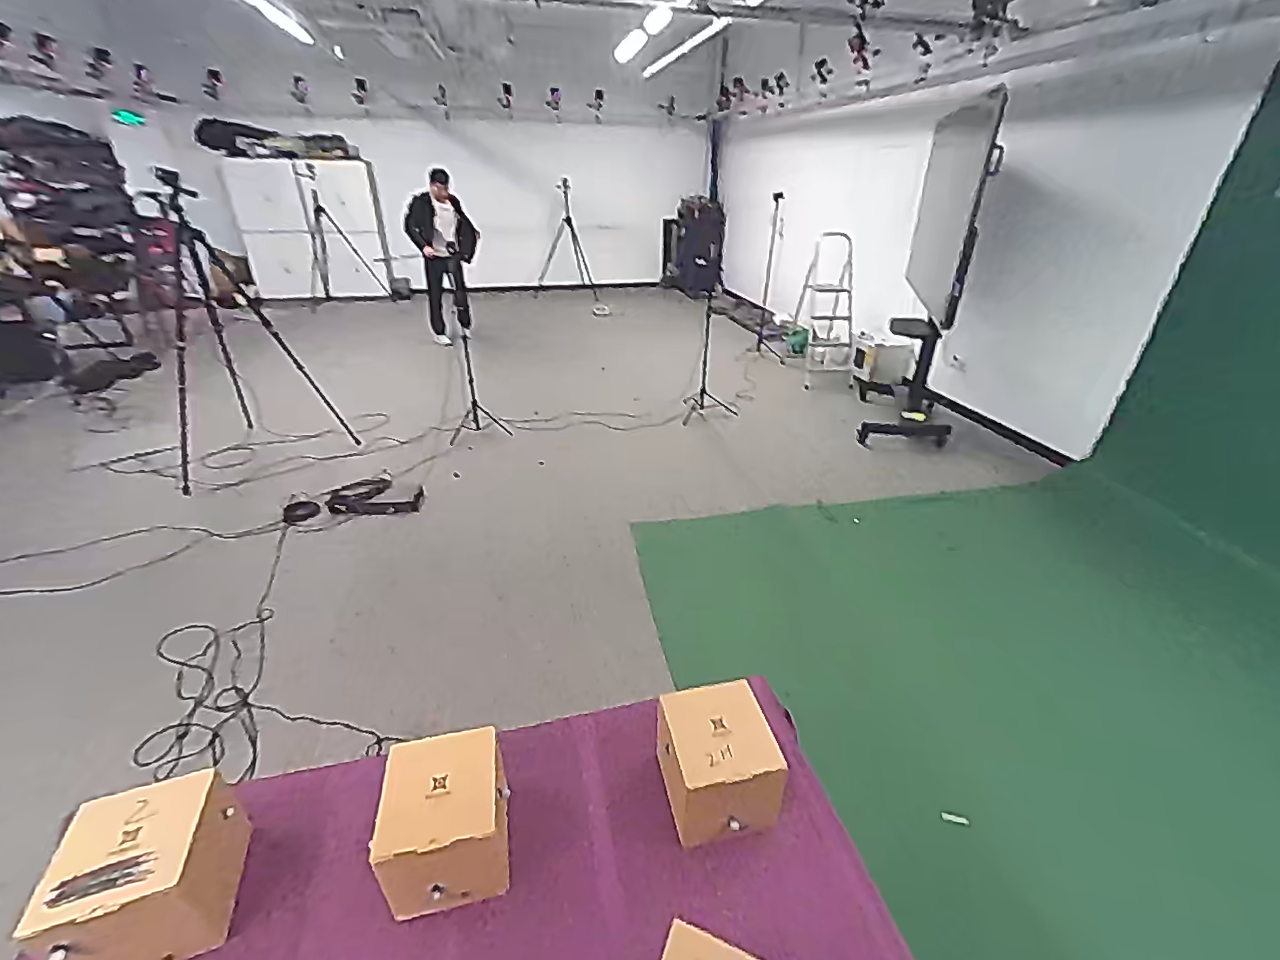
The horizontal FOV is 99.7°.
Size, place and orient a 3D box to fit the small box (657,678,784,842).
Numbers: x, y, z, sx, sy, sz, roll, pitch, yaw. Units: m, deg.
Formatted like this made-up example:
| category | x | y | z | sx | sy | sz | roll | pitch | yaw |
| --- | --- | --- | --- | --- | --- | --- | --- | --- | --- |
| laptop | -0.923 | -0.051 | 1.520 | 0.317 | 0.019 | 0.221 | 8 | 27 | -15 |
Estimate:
| category | x | y | z | sx | sy | sz | roll | pitch | yaw |
| --- | --- | --- | --- | --- | --- | --- | --- | --- | --- |
| small box | 0.127 | 0.478 | 0.934 | 0.168 | 0.176 | 0.179 | -6 | 31 | -11 |

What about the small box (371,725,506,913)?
| category | x | y | z | sx | sy | sz | roll | pitch | yaw |
| --- | --- | --- | --- | --- | --- | --- | --- | --- | --- |
| small box | -0.302 | 0.523 | 0.846 | 0.168 | 0.176 | 0.179 | -6 | 32 | -12 |
